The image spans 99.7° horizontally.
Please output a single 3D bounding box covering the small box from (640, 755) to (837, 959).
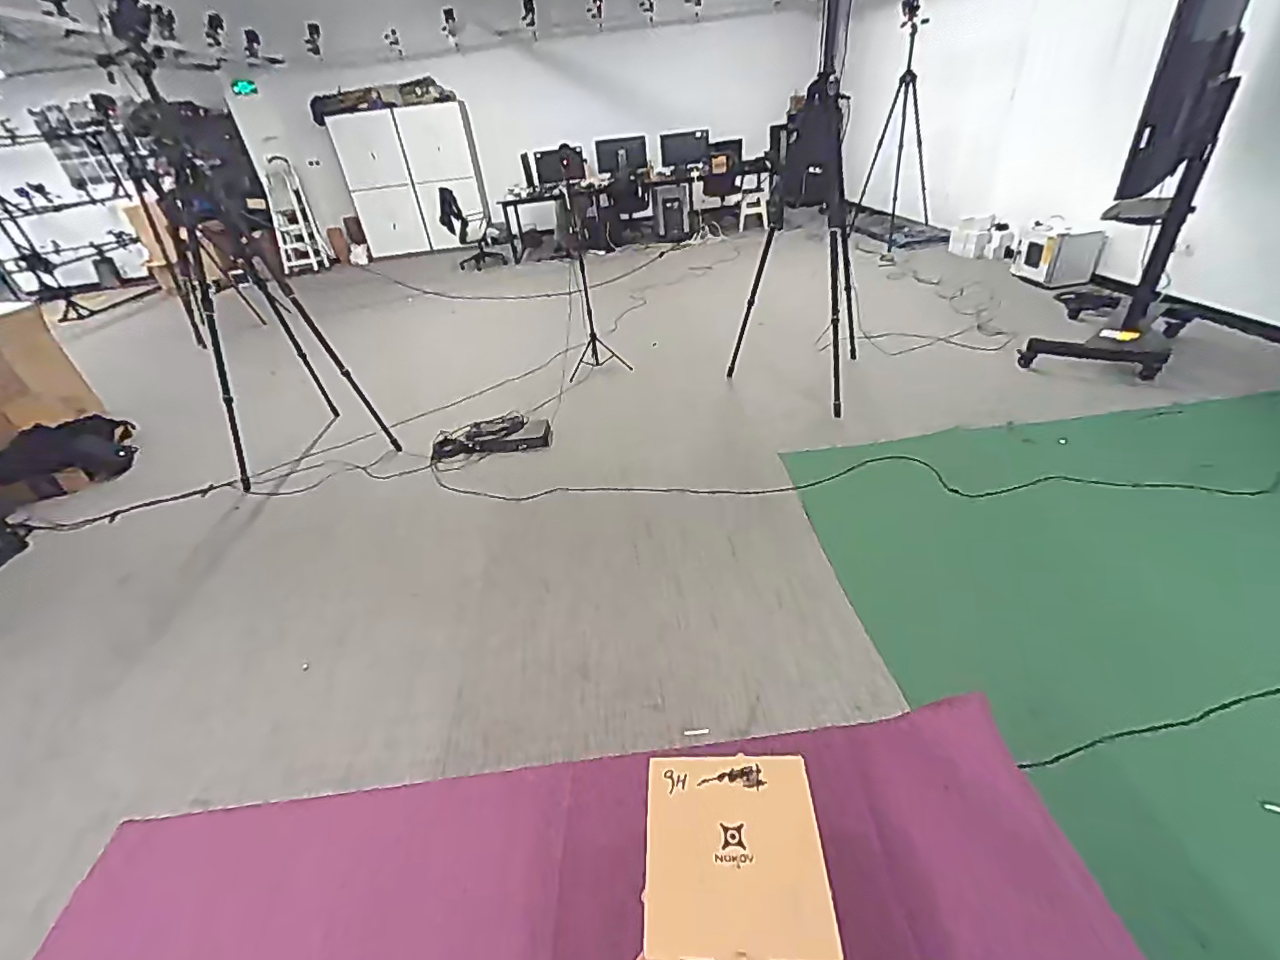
[{"bbox_3d":[0.095,0.412,0.557,0.168,0.176,0.179,-4,35,6],"label":"small box"}]
